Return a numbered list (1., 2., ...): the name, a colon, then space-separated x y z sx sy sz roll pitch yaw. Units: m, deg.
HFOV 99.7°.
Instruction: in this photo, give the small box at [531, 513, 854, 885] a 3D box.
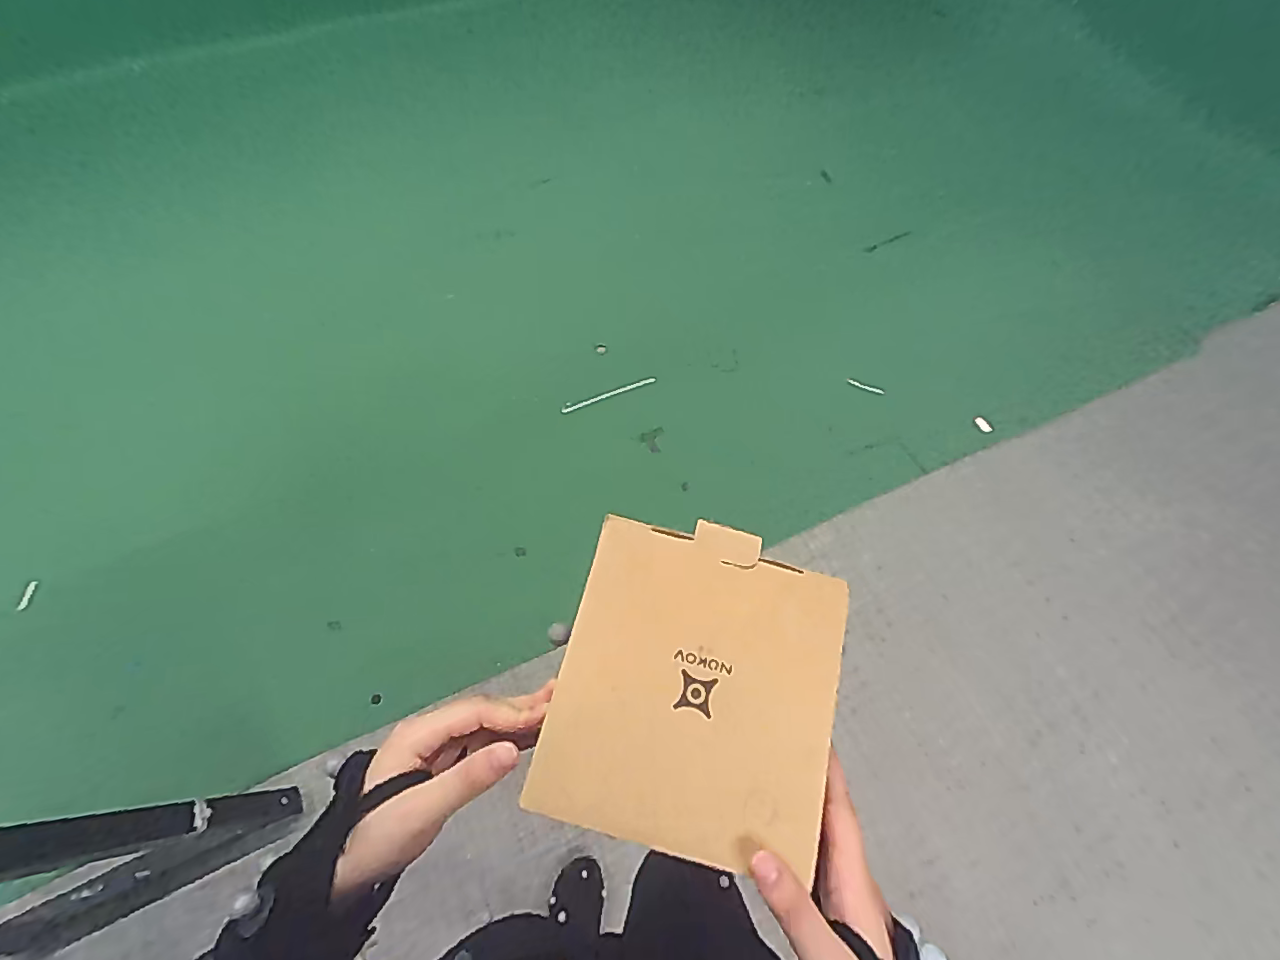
1. small box: 0.034 0.148 0.396 0.168 0.176 0.179 14 68 1
